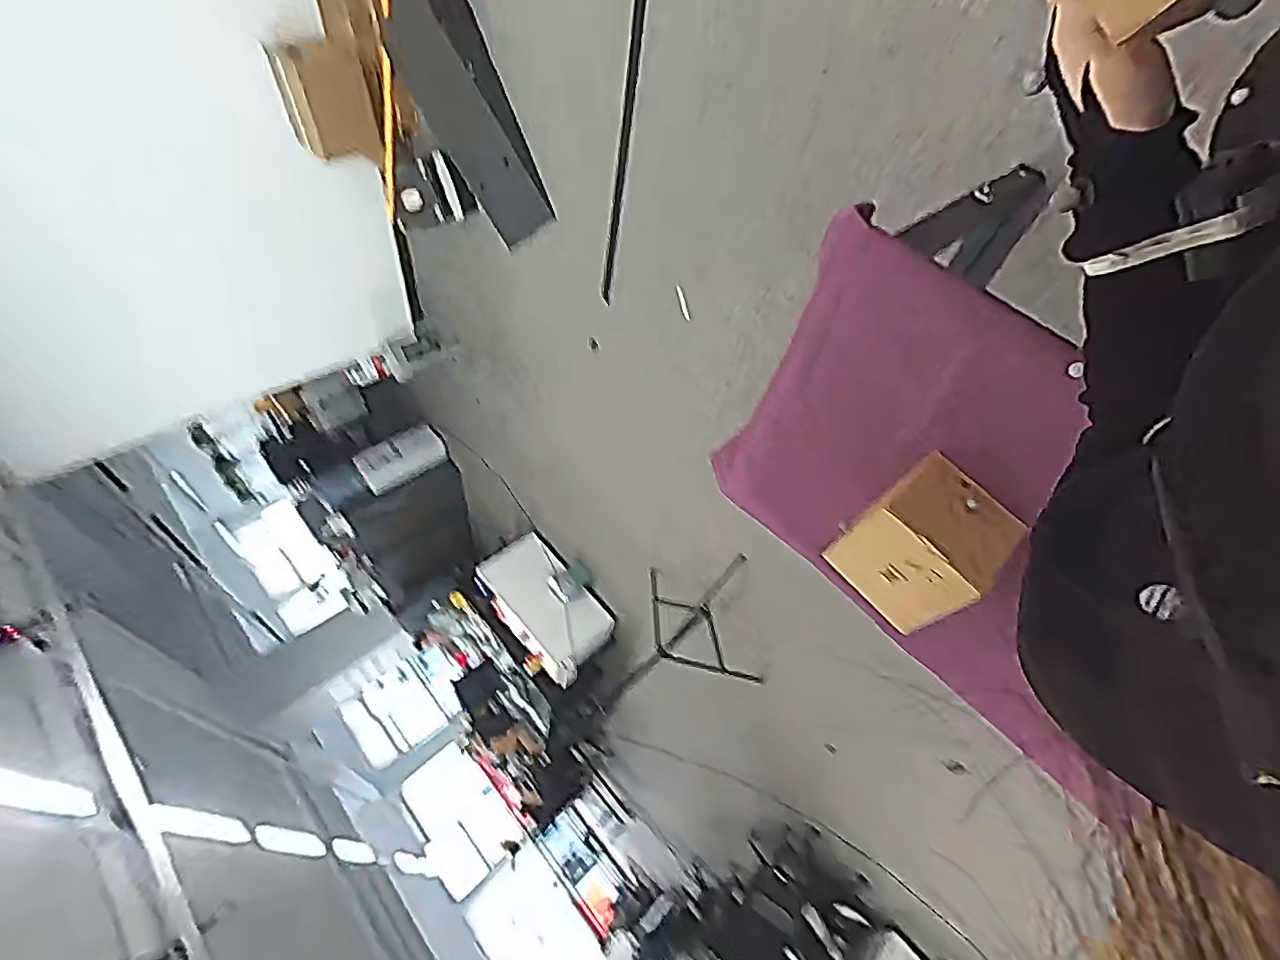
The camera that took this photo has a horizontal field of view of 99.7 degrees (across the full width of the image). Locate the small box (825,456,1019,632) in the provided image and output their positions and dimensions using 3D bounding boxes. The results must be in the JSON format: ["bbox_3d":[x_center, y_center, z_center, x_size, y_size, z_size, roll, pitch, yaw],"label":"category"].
[{"bbox_3d":[0.429,0.097,0.829,0.168,0.176,0.179,46,148,15],"label":"small box"}]

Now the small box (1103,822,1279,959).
[{"bbox_3d":[0.658,0.495,0.567,0.168,0.176,0.179,43,149,20],"label":"small box"}]

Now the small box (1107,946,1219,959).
[{"bbox_3d":[0.537,0.571,0.484,0.168,0.176,0.179,44,148,19],"label":"small box"}]

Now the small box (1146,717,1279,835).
[{"bbox_3d":[0.776,0.411,0.644,0.168,0.176,0.179,44,148,19],"label":"small box"}]
